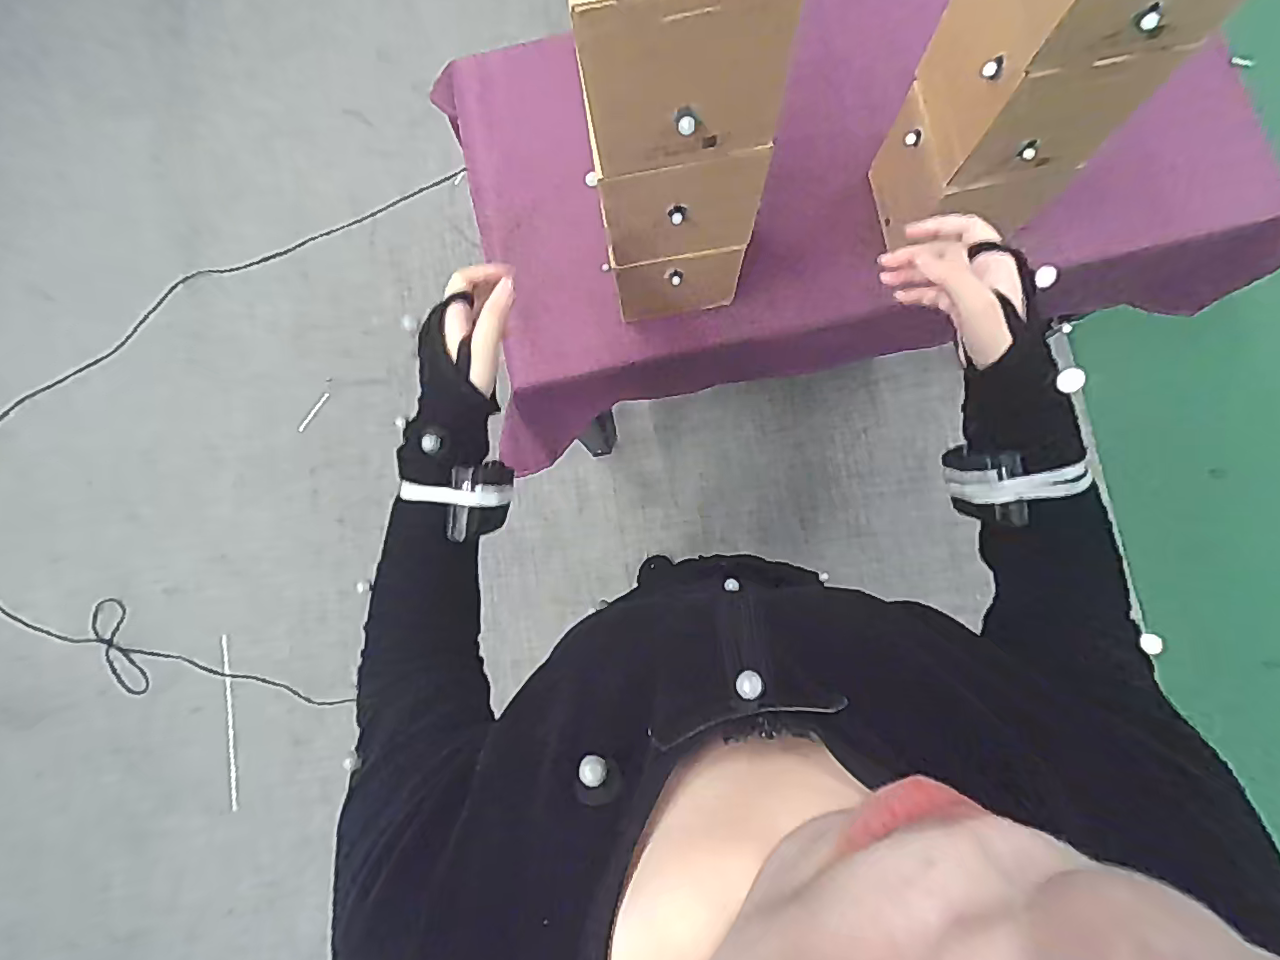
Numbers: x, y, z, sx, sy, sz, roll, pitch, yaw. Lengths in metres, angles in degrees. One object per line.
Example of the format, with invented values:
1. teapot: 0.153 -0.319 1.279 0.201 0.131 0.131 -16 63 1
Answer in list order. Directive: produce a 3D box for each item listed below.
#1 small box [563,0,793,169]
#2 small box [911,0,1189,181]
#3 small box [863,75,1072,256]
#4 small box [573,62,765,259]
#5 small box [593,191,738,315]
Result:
1. small box: 0.019 -0.407 0.454 0.168 0.176 0.179 -10 83 3
2. small box: 0.432 -0.478 0.605 0.168 0.176 0.179 -10 83 2
3. small box: 0.445 -0.446 0.765 0.179 0.176 0.168 -10 81 2
4. small box: 0.030 -0.380 0.617 0.179 0.176 0.168 -10 83 3
5. small box: 0.034 -0.355 0.779 0.179 0.176 0.168 -9 83 2
